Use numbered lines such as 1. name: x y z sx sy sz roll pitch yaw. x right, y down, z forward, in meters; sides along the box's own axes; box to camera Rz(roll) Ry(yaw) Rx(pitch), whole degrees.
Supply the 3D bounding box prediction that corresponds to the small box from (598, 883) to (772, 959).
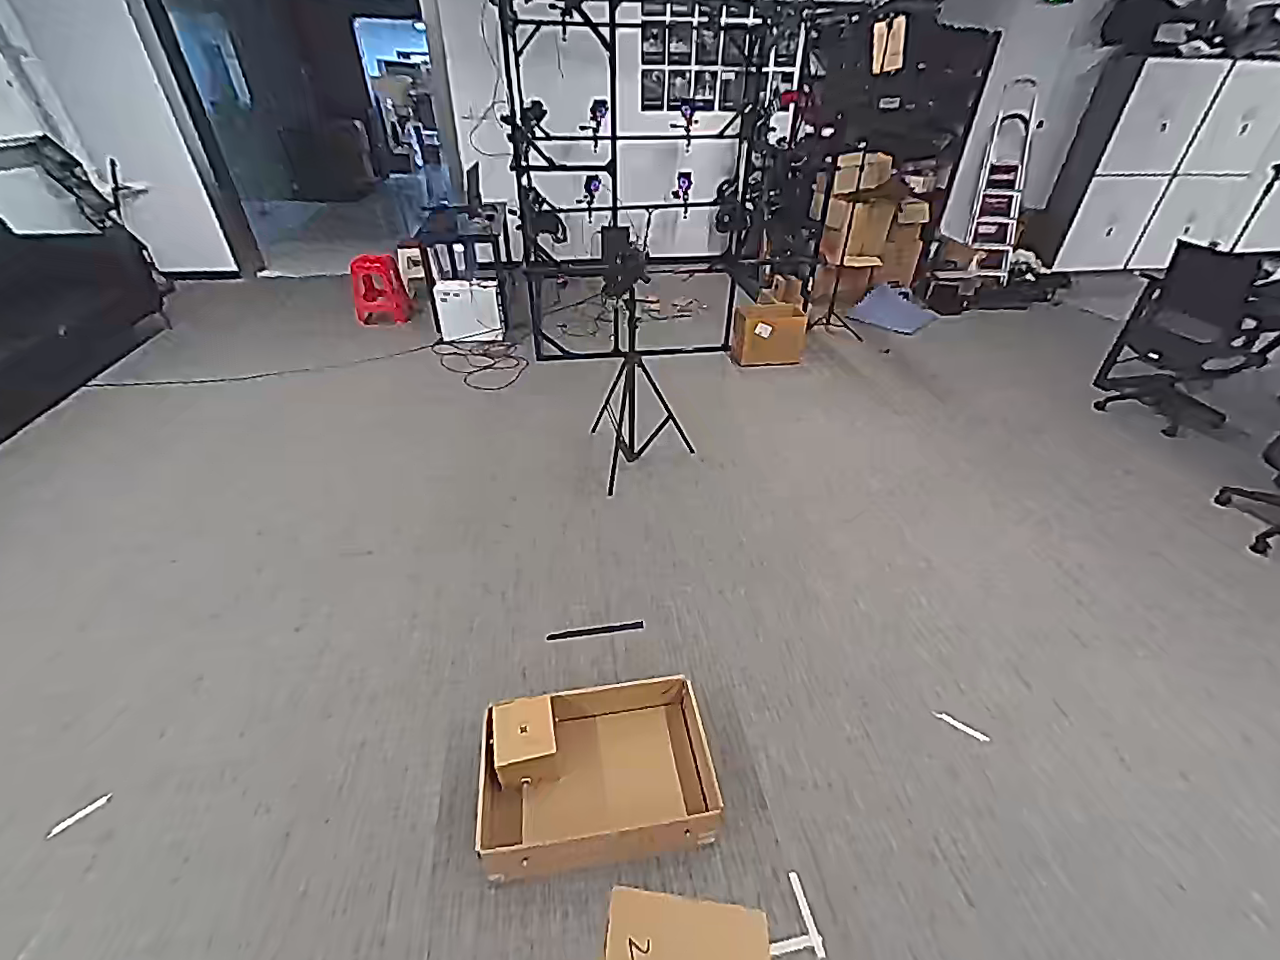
1. small box: 0.038 0.565 0.568 0.179 0.176 0.168 8 33 2
